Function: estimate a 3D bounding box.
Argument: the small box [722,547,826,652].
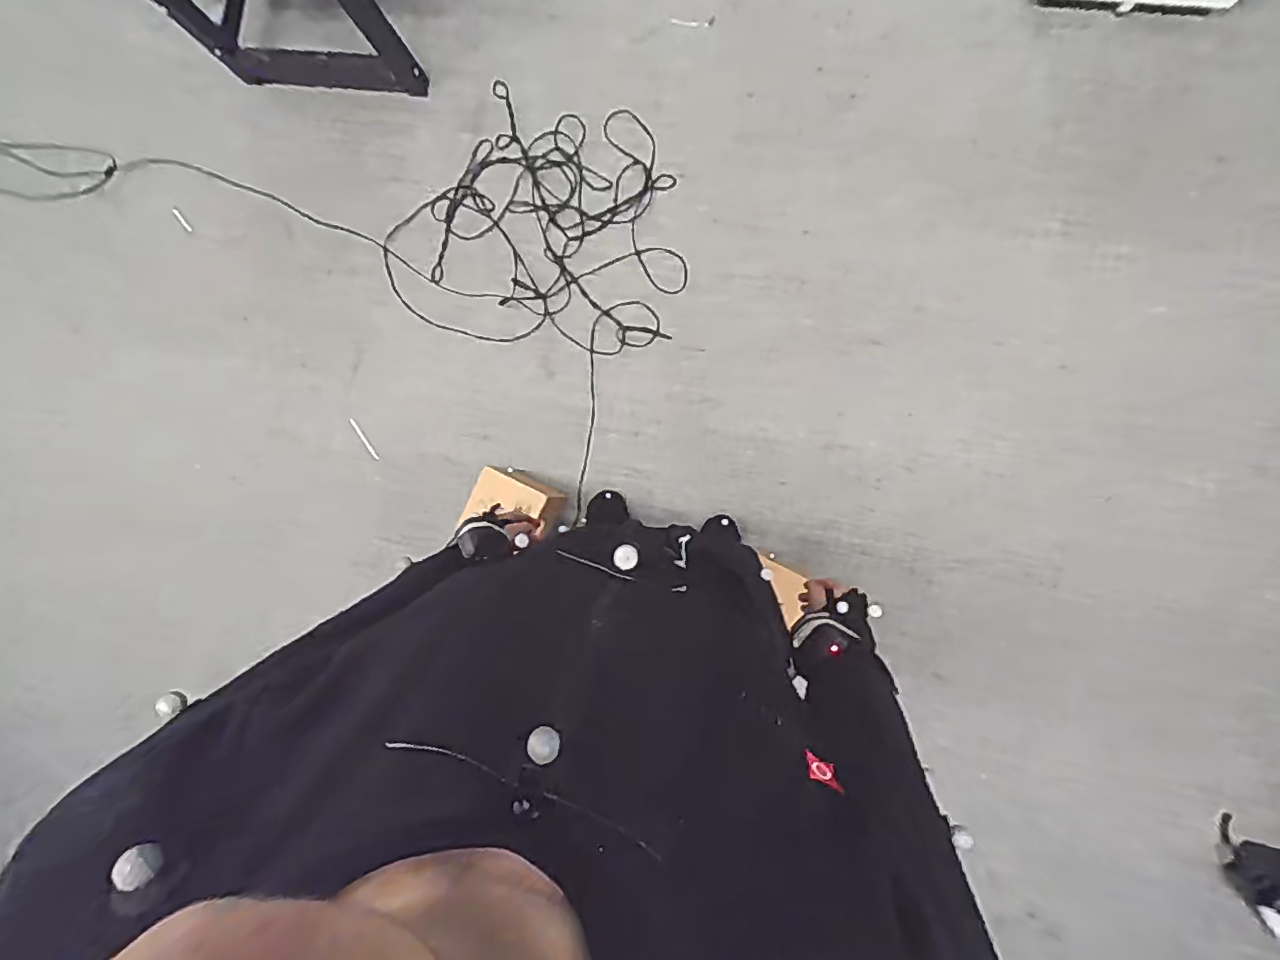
[{"bbox_3d":[0.304,0.268,1.260,0.179,0.176,0.168,25,93,8],"label":"small box"}]
